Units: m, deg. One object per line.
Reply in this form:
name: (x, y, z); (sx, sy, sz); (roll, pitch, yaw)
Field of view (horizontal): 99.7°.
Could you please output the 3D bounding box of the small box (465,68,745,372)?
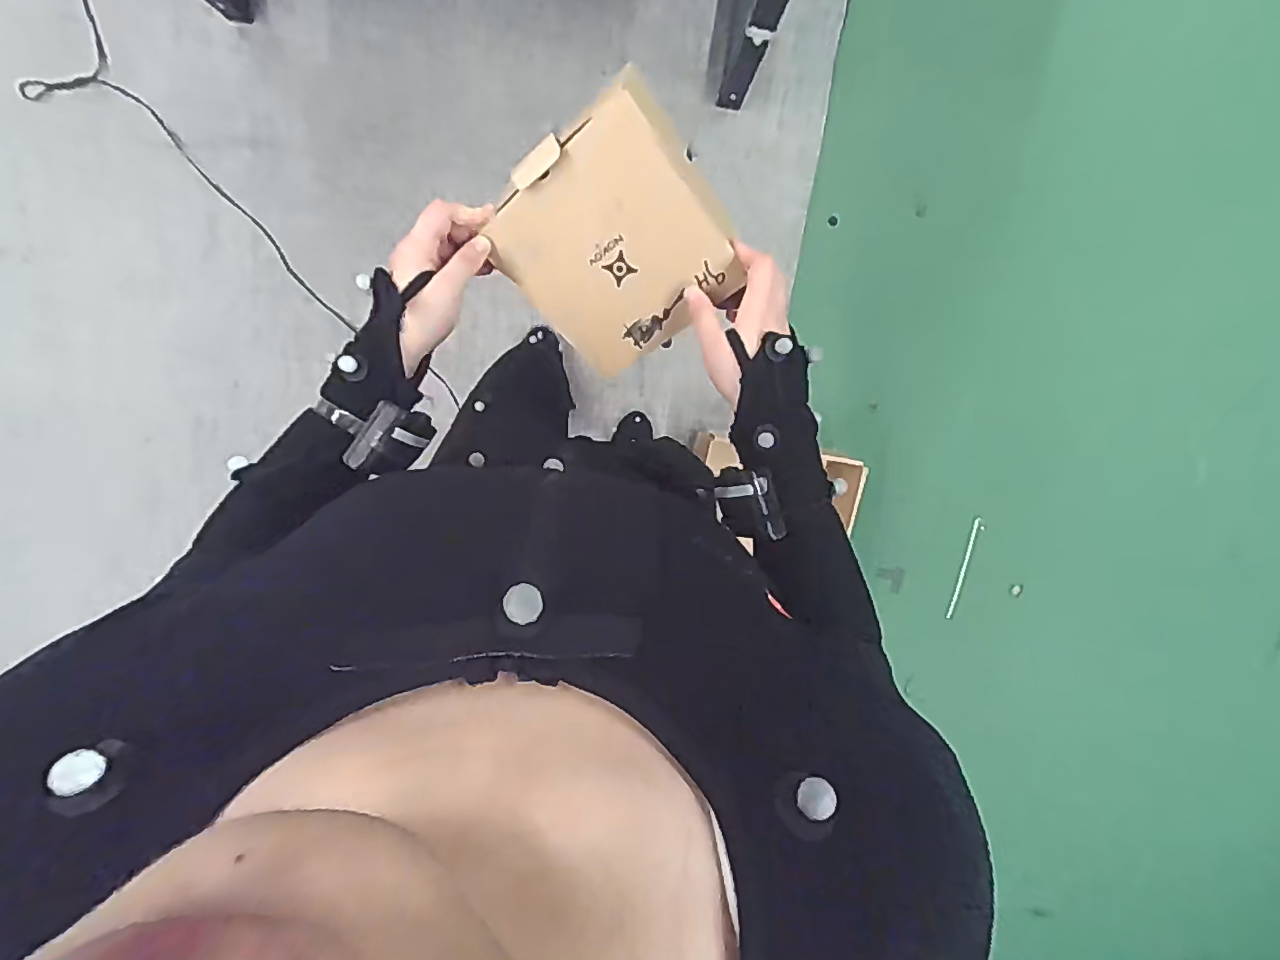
small box: (-0.026, -0.242, 0.502); (0.168, 0.176, 0.179); (-30, 126, 25)
